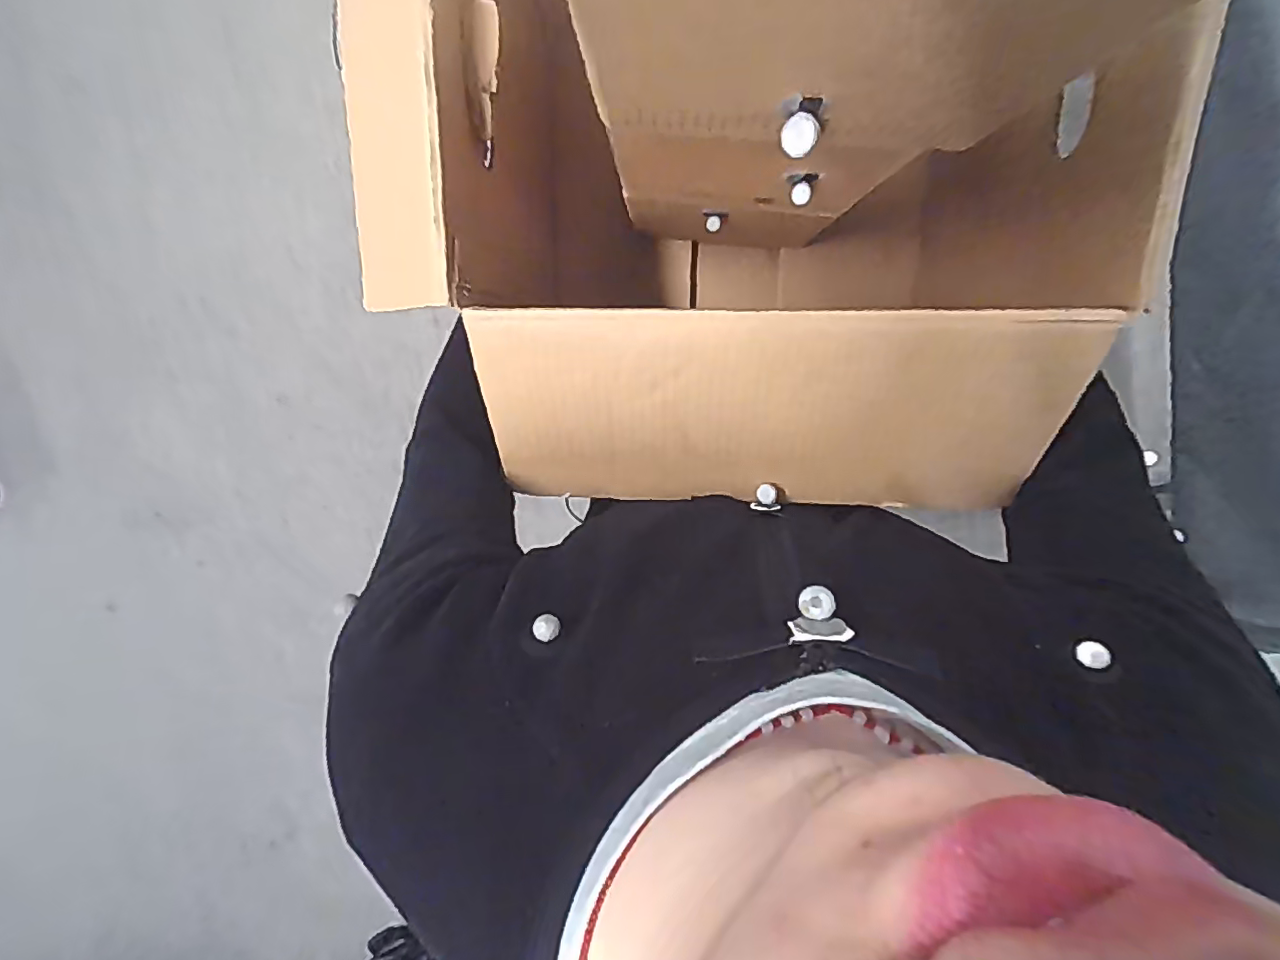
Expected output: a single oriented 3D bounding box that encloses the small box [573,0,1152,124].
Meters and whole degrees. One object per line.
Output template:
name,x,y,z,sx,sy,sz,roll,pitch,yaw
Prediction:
small box,0.069,-0.223,0.151,0.179,0.176,0.168,4,105,0
